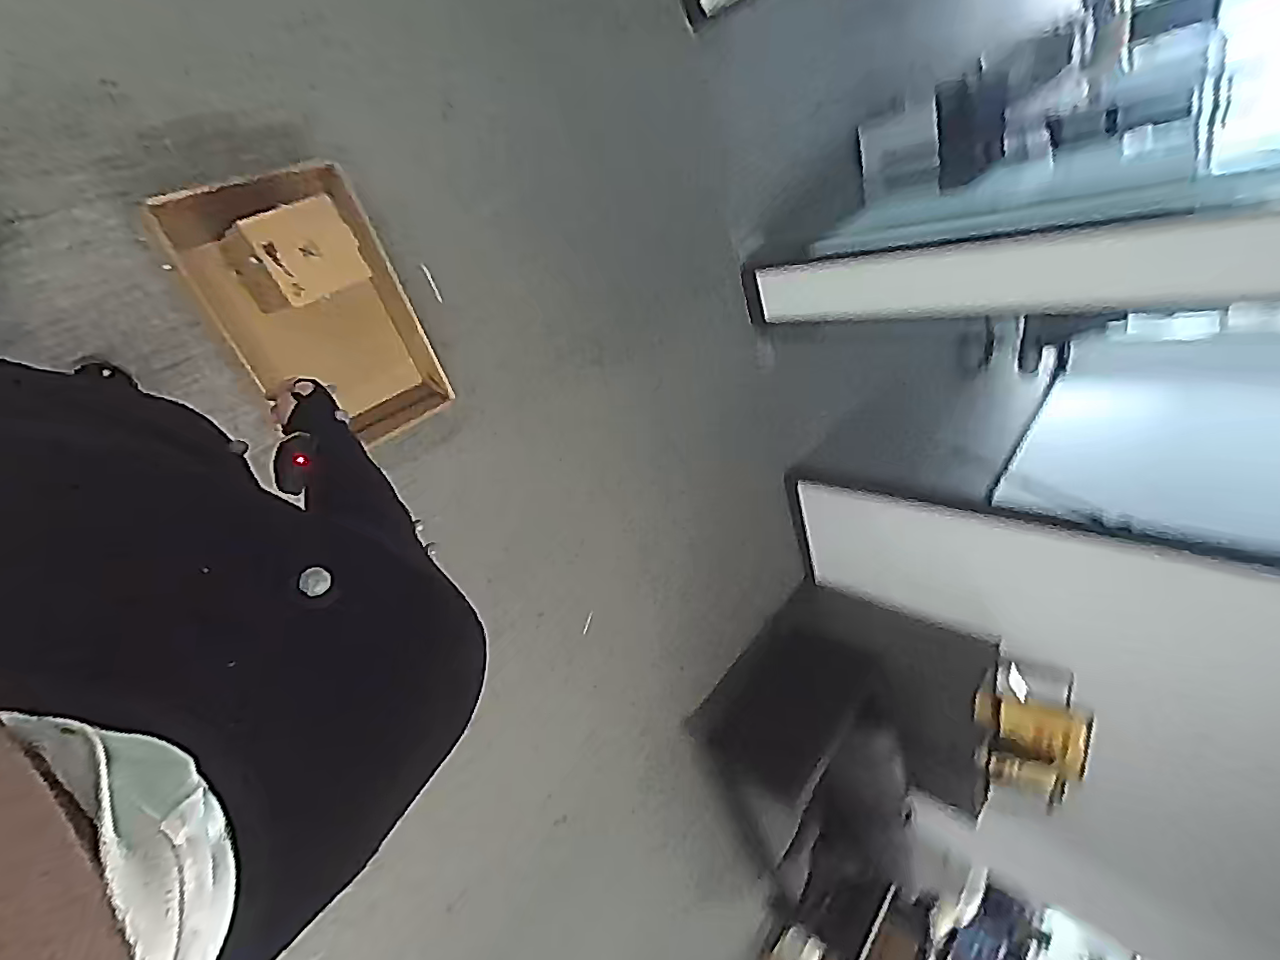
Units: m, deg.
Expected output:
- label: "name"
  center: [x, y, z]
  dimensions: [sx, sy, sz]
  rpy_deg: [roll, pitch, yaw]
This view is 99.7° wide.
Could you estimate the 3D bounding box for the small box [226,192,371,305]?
- label: "small box"
  center: [-0.703, -0.472, 1.113]
  dimensions: [0.179, 0.176, 0.168]
  rpy_deg: [-41, 126, -31]
